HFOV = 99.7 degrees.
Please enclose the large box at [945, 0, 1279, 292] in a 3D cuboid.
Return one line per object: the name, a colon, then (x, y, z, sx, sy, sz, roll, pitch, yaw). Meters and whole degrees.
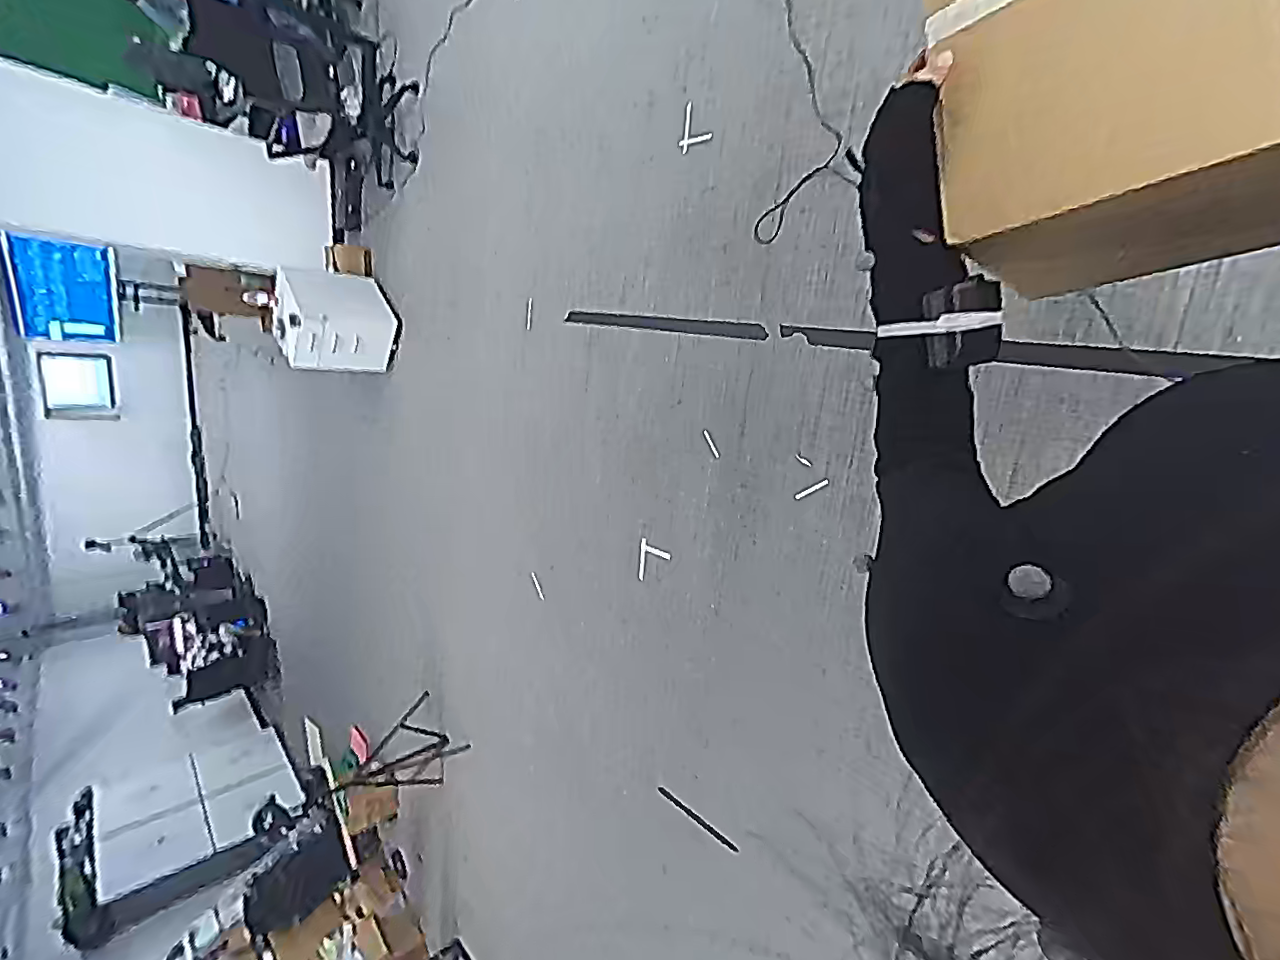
large box: (0.471, -0.358, 0.371, 0.408, 0.320, 0.320, -3, 94, 44)
